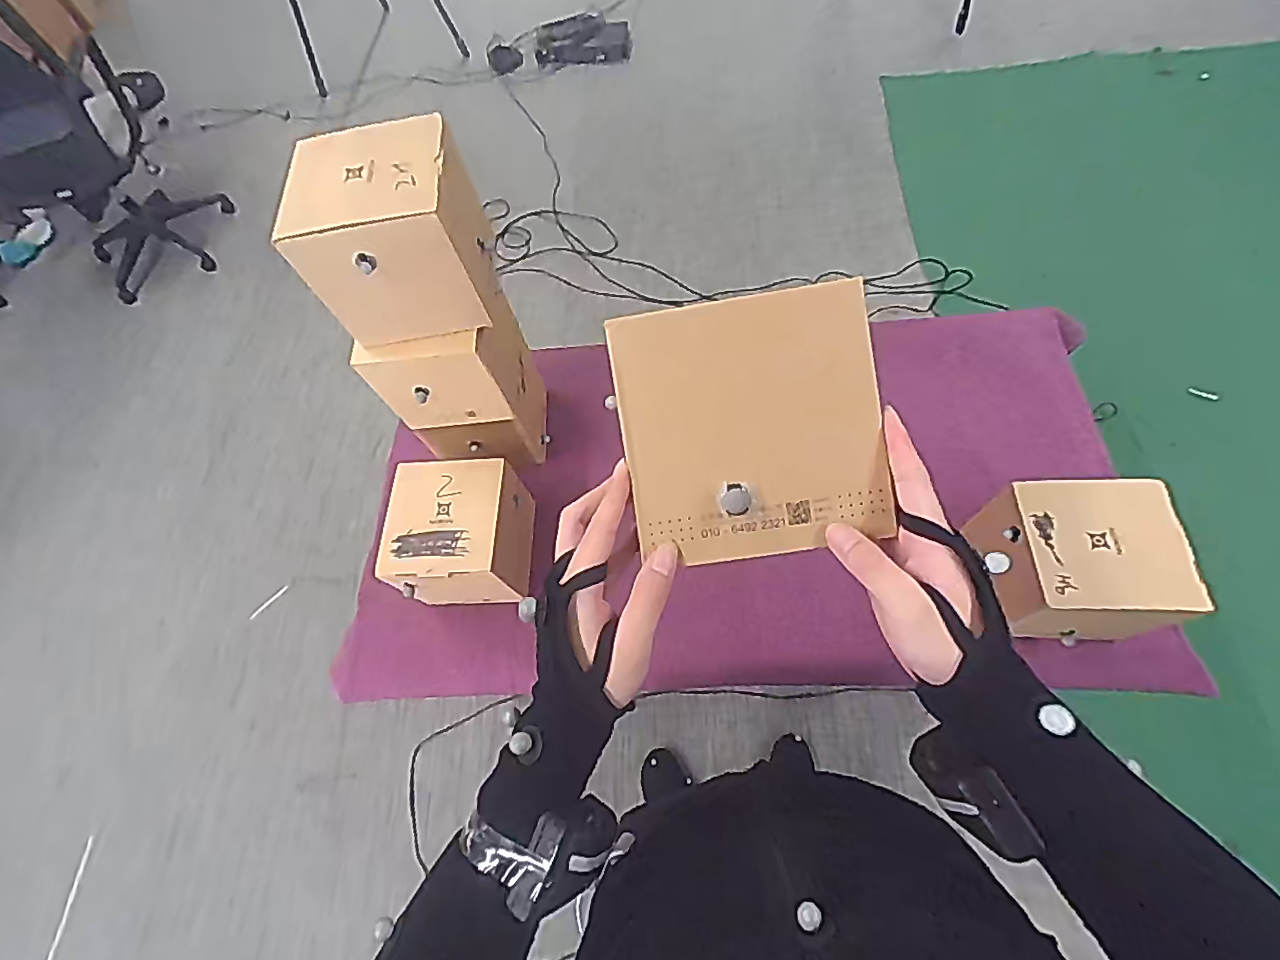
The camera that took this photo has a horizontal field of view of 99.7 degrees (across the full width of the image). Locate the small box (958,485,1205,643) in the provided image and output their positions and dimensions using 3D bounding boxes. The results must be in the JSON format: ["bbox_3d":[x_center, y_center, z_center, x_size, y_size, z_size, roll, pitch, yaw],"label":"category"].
[{"bbox_3d":[0.563,0.117,0.722,0.179,0.176,0.168,0,63,7],"label":"small box"}]

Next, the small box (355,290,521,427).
[{"bbox_3d":[-0.278,-0.190,0.787,0.168,0.176,0.179,-5,63,4],"label":"small box"}]

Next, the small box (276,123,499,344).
[{"bbox_3d":[-0.284,-0.284,0.650,0.179,0.176,0.168,-8,64,2],"label":"small box"}]

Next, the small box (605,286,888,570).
[{"bbox_3d":[0.074,-0.030,0.428,0.168,0.179,0.176,-9,91,3],"label":"small box"}]
